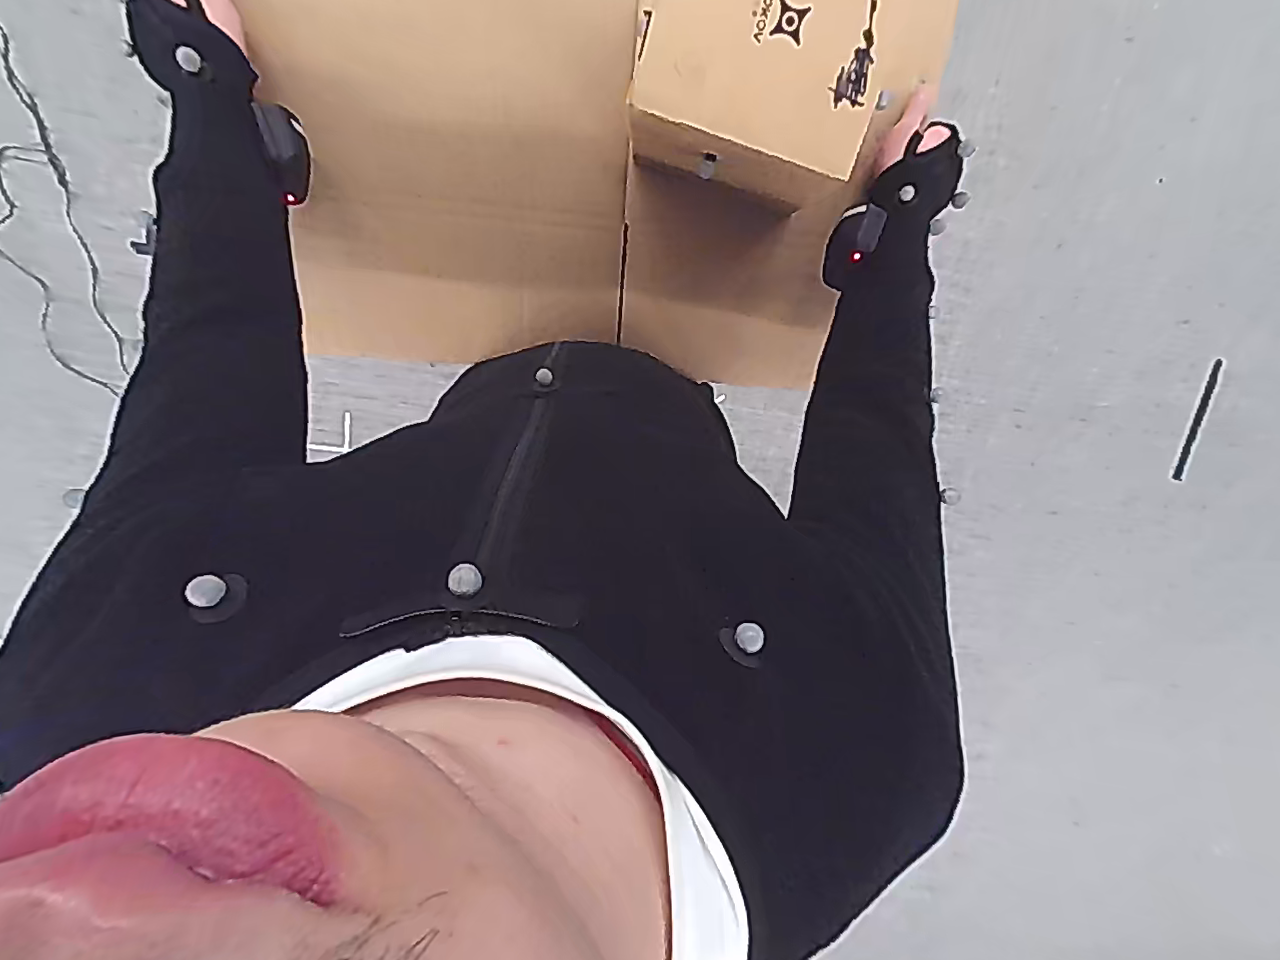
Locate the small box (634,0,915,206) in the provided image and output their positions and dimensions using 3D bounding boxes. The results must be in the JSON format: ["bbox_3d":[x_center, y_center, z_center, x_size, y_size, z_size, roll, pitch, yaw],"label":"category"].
[{"bbox_3d":[0.103,-0.354,0.461,0.179,0.176,0.168,17,108,-4],"label":"small box"}]
